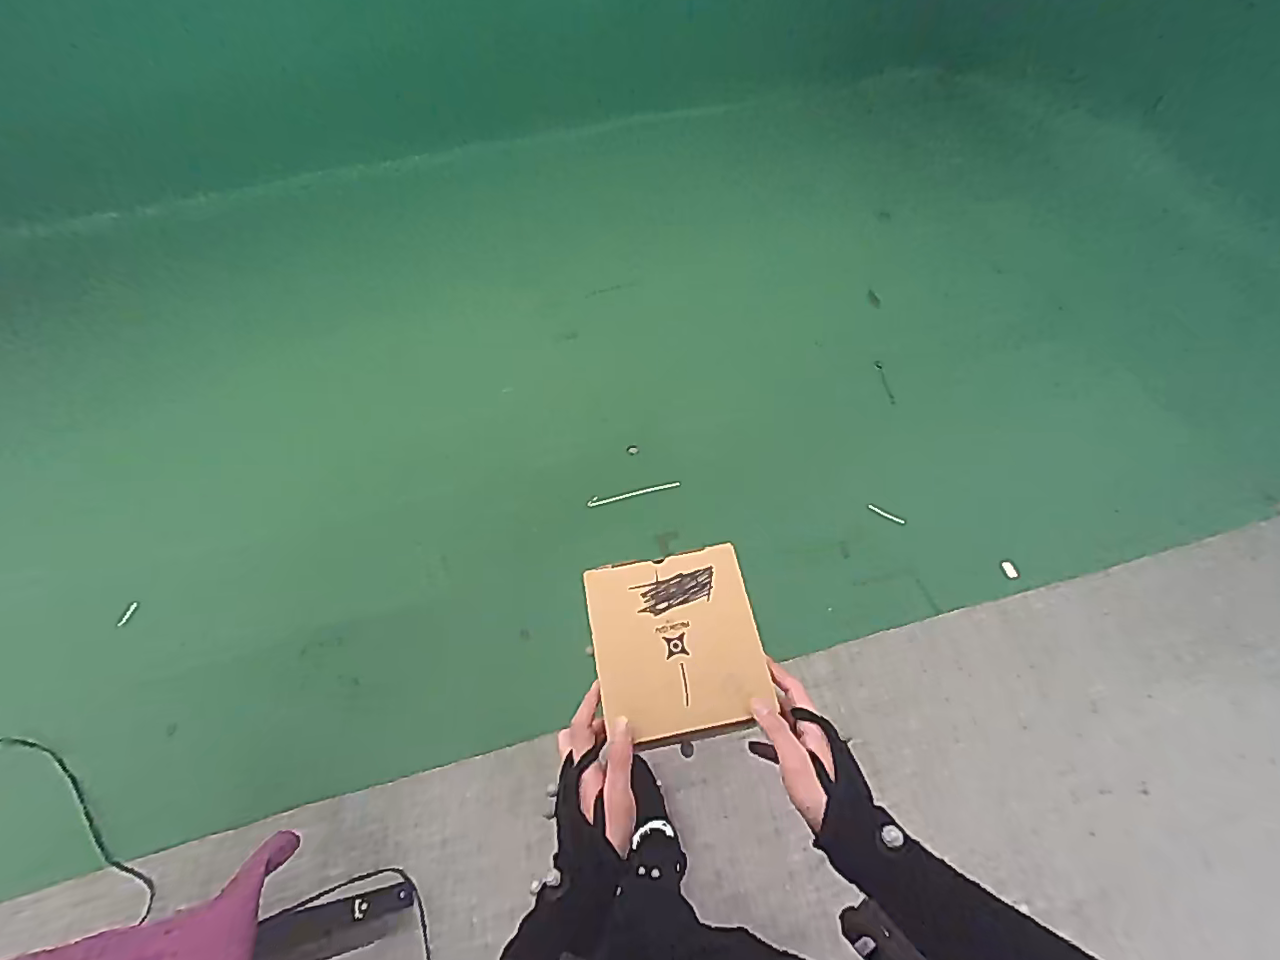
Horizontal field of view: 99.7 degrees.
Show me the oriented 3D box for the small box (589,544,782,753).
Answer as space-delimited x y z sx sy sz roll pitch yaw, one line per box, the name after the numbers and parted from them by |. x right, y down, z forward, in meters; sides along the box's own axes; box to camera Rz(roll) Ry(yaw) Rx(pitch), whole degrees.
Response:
0.041 0.195 0.608 0.168 0.176 0.179 -11 62 -2 | small box
